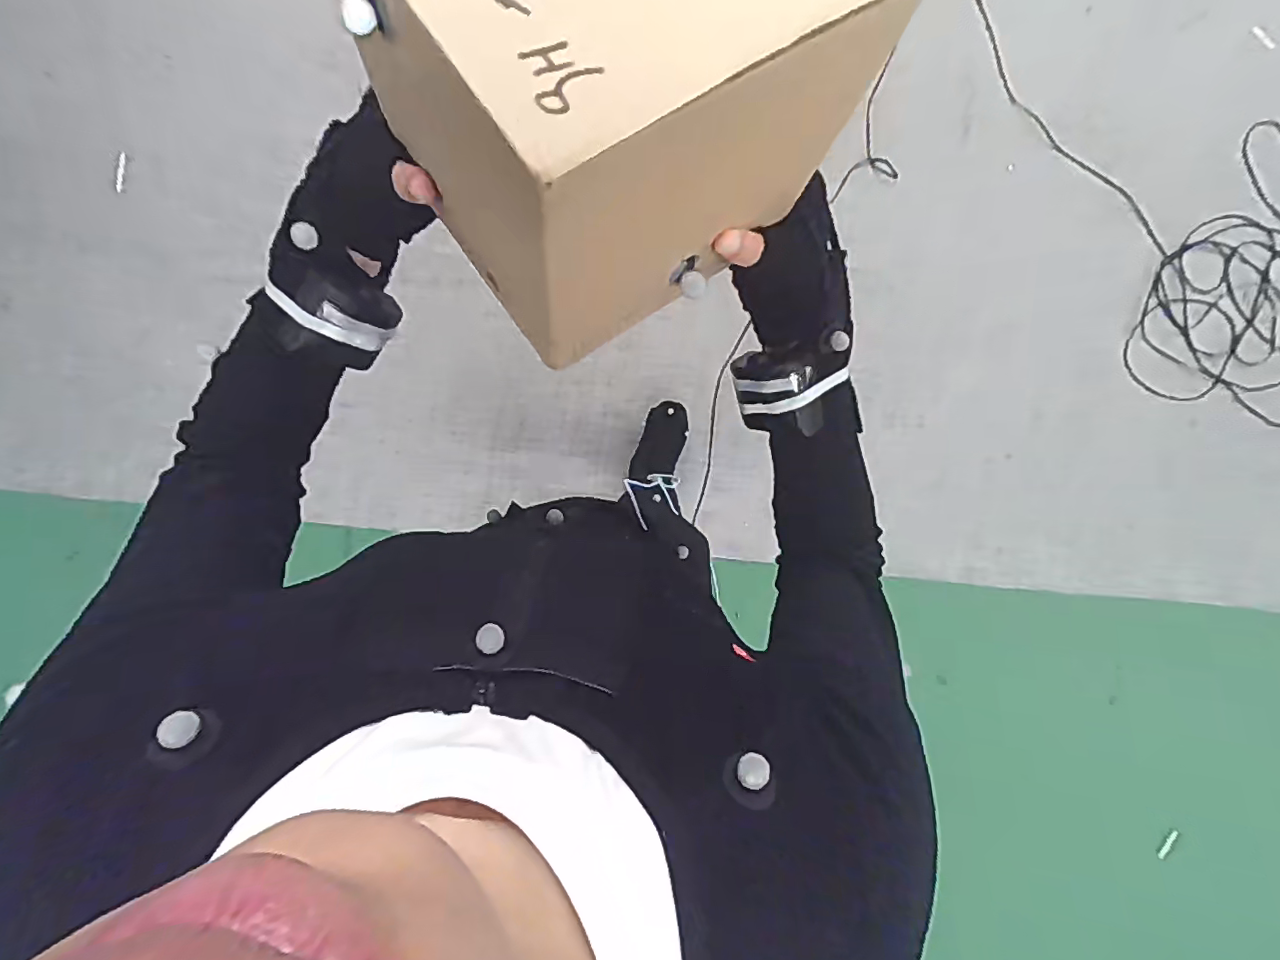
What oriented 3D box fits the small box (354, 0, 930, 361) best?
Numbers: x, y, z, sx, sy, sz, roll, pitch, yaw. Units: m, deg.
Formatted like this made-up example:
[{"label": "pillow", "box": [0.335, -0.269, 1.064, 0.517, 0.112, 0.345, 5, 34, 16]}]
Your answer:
[{"label": "small box", "box": [-0.016, -0.189, 0.260, 0.179, 0.176, 0.168, -35, 87, -12]}]
